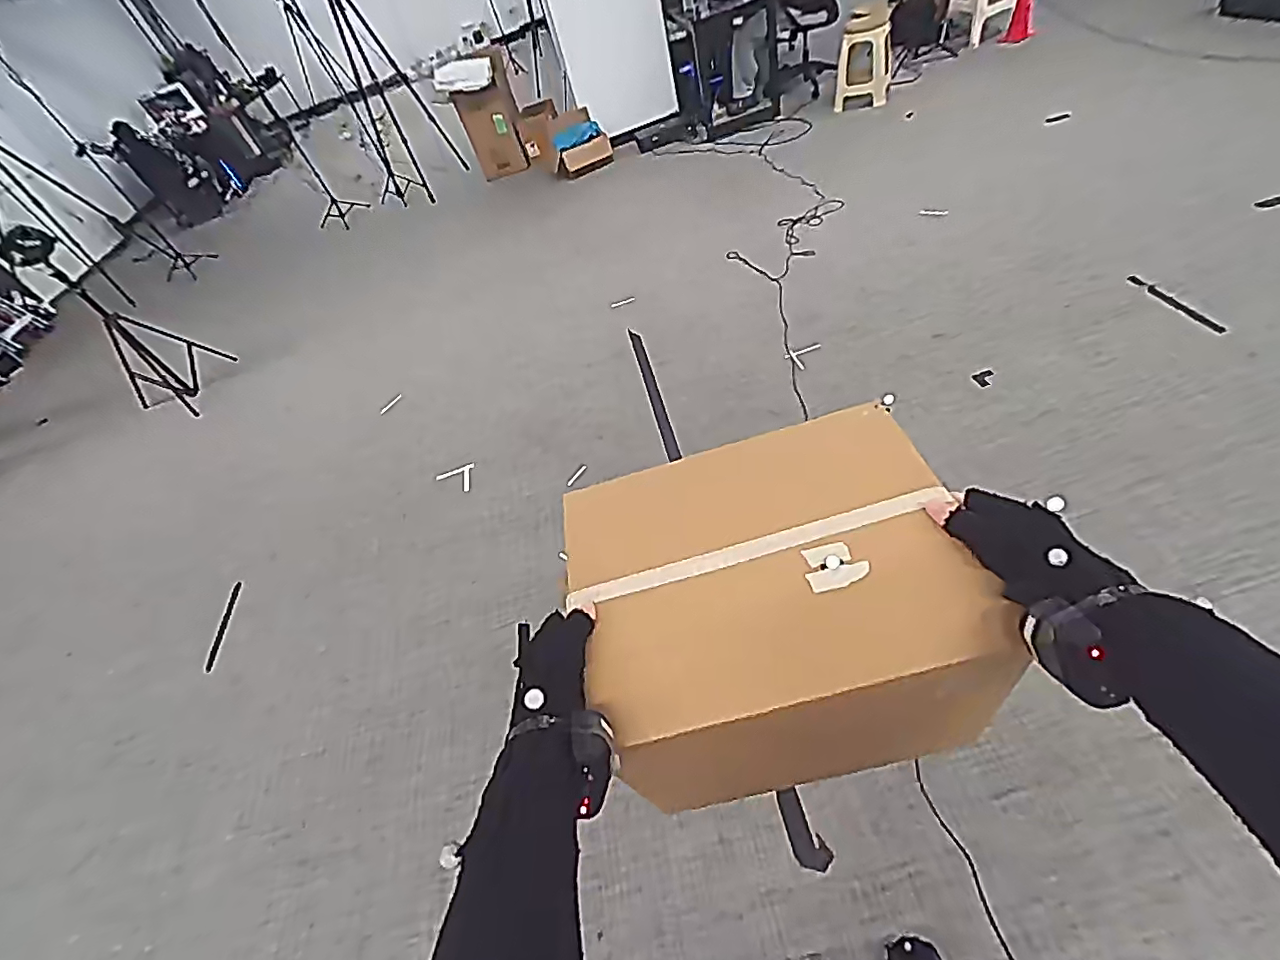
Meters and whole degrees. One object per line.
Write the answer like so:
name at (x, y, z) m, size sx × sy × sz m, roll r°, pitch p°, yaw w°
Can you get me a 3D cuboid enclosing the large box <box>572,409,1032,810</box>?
large box at (0.161, 0.172, 0.684) m, size 0.408 × 0.320 × 0.320 m, roll -17°, pitch 48°, yaw 5°
